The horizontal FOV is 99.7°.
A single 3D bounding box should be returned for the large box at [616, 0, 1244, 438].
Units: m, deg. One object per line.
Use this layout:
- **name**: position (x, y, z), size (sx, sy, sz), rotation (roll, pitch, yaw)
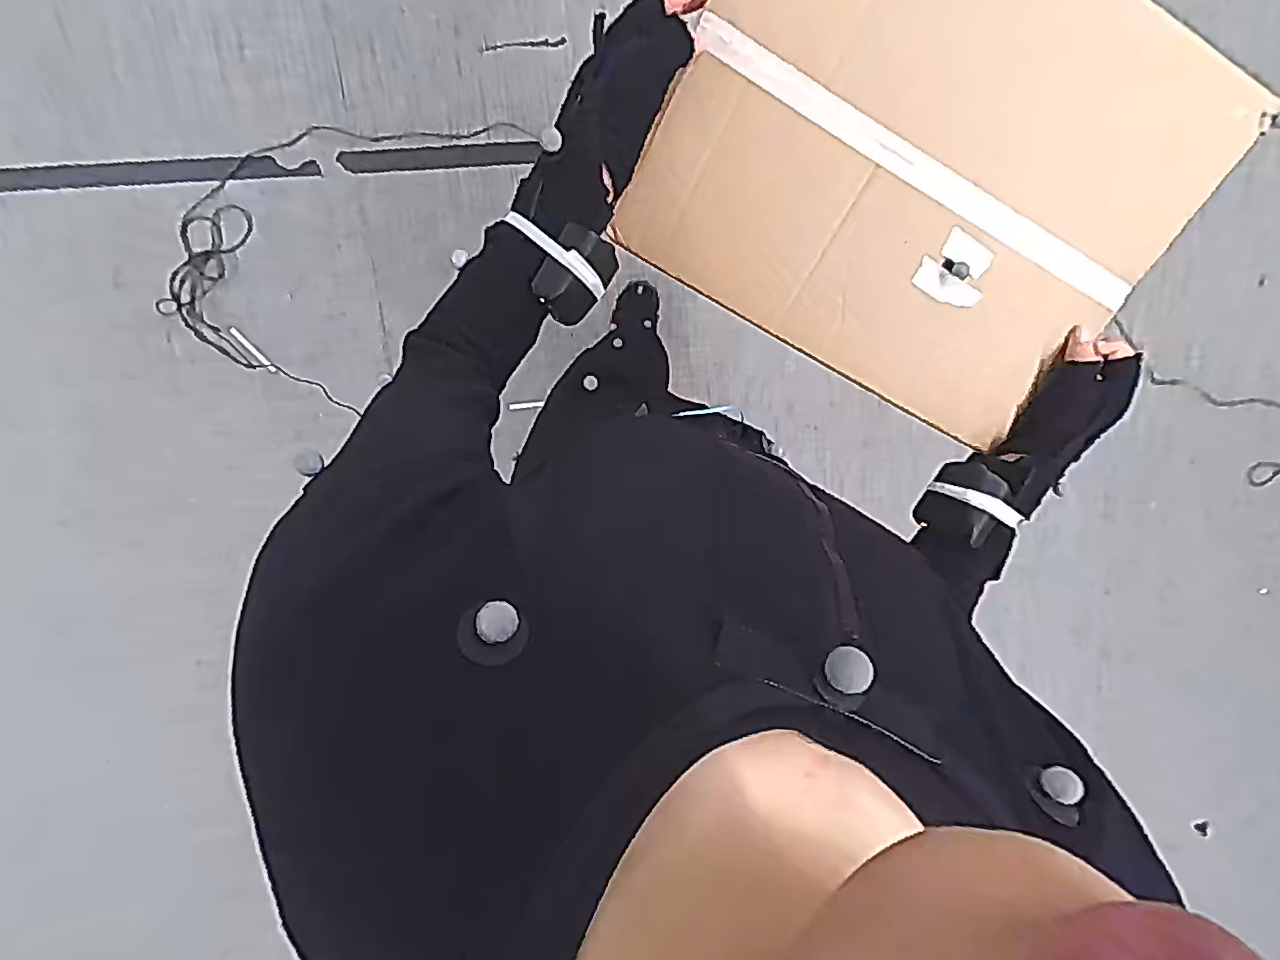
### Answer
- **large box**: position (0.223, -0.303, 0.574), size (0.408, 0.320, 0.320), rotation (27, 111, -9)
